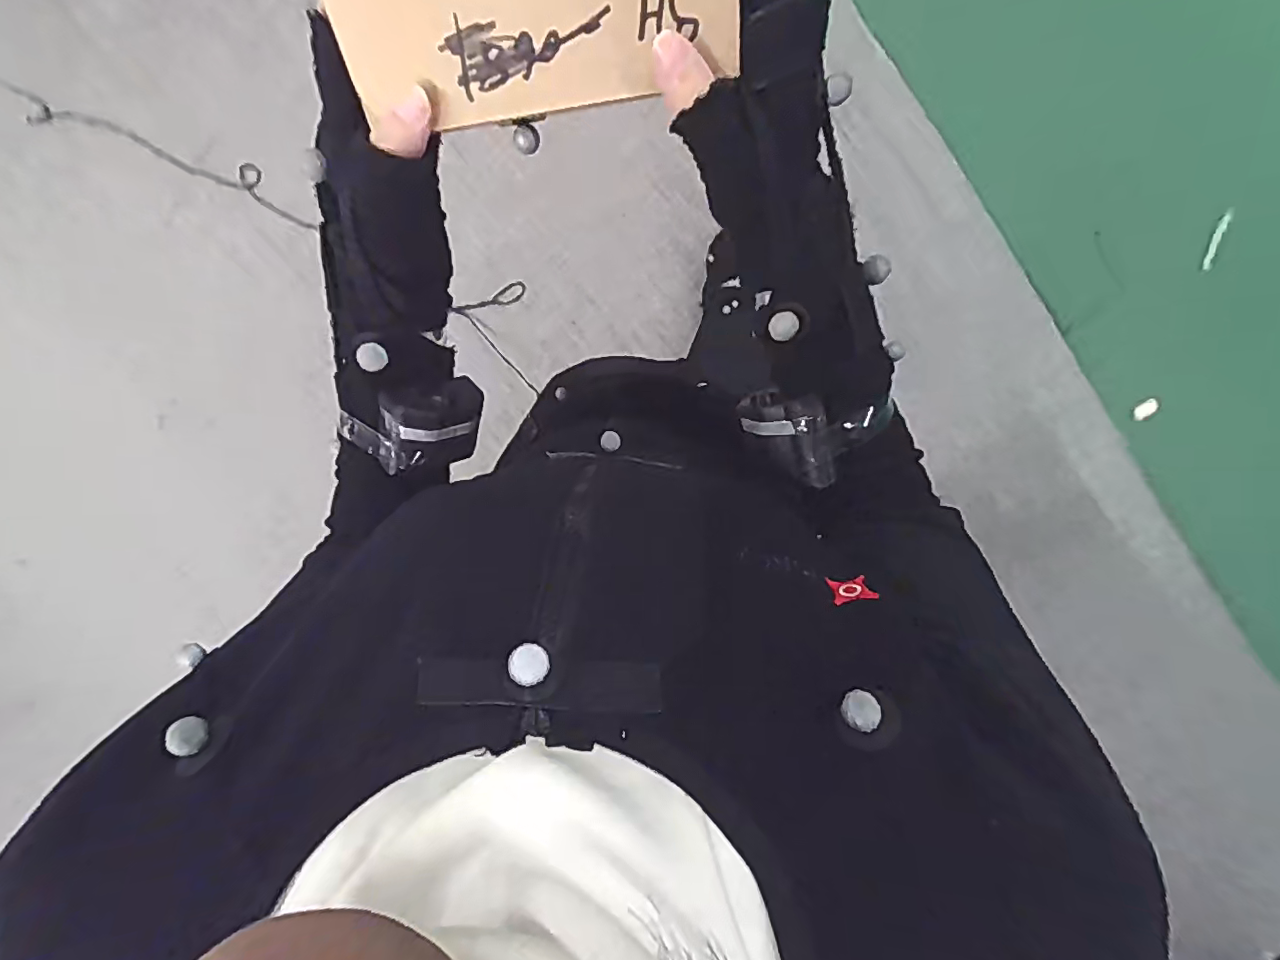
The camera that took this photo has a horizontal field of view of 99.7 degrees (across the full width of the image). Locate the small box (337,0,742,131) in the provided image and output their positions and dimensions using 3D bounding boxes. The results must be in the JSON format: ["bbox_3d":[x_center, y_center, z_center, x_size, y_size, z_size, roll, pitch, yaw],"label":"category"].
[{"bbox_3d":[-0.050,-0.286,0.259,0.168,0.176,0.179,-9,124,8],"label":"small box"}]
